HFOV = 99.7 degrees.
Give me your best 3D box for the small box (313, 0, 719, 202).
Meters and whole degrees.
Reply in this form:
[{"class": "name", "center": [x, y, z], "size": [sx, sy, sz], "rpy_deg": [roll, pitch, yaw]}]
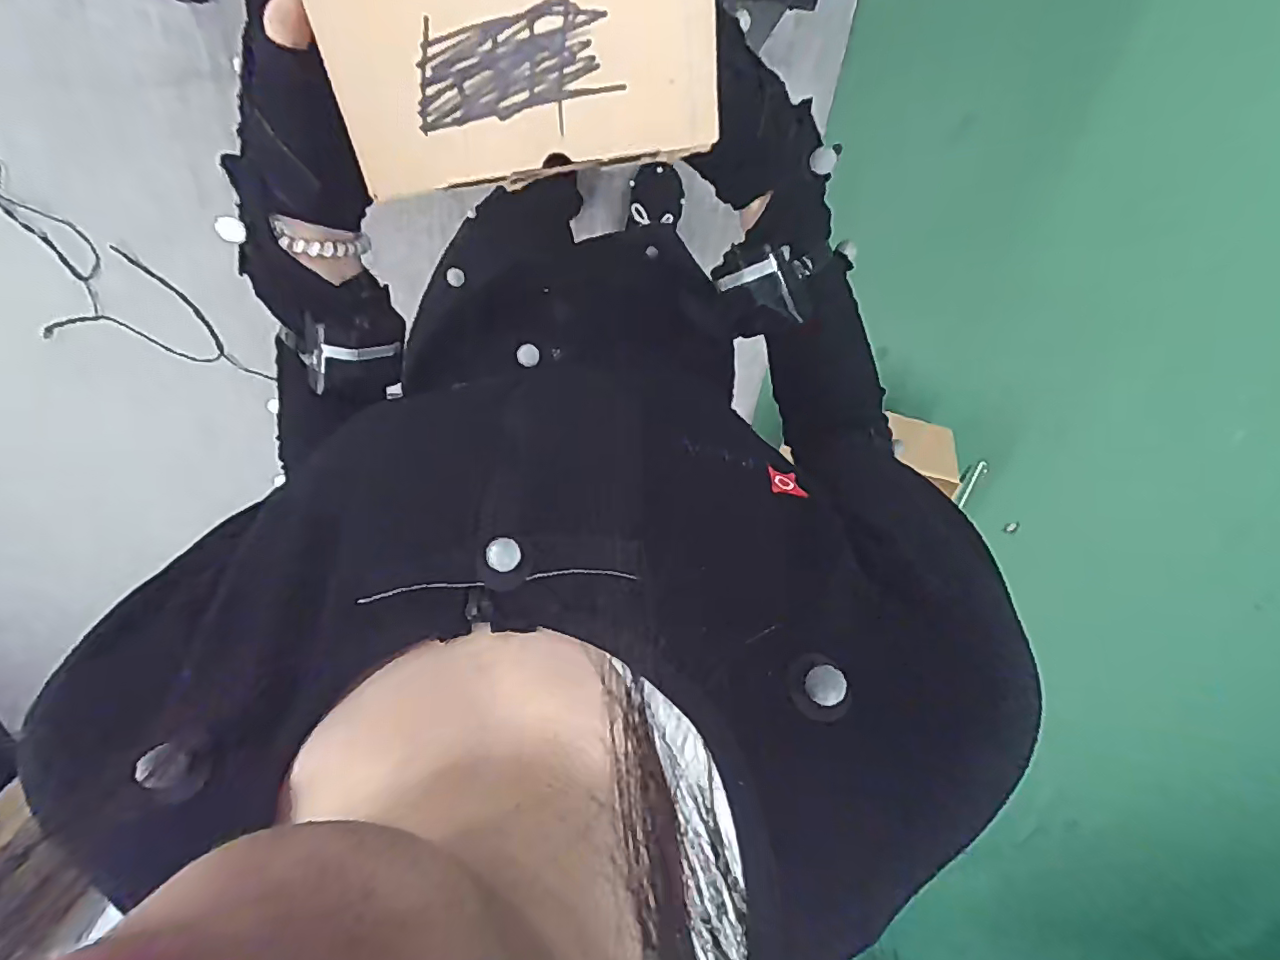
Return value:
[{"class": "small box", "center": [-0.072, -0.255, 0.264], "size": [0.168, 0.176, 0.179], "rpy_deg": [-18, 128, -14]}]
